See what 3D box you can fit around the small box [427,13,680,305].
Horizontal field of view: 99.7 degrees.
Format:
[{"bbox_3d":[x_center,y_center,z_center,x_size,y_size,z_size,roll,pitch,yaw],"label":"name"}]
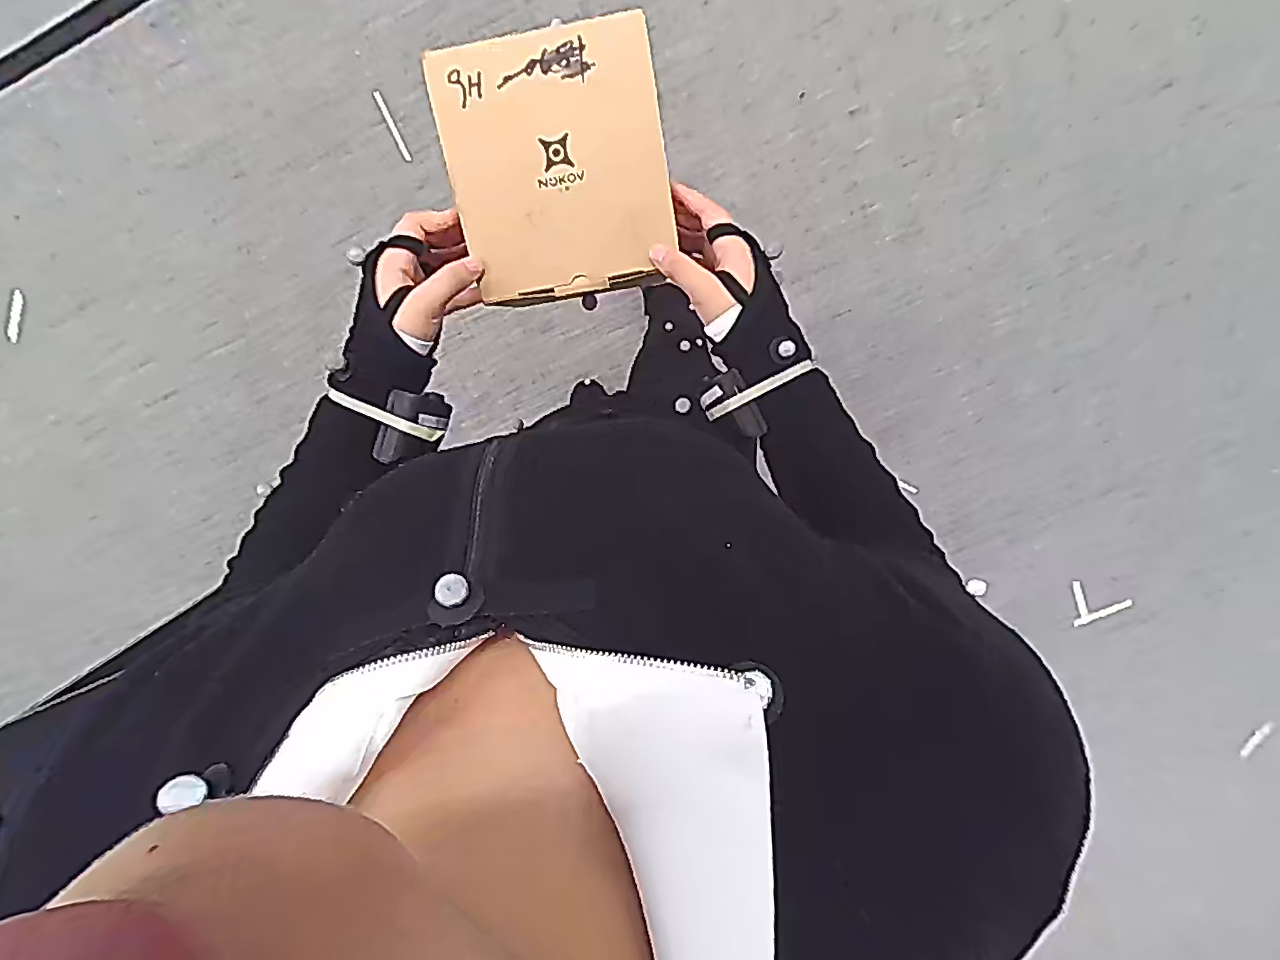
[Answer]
[{"bbox_3d":[-0.061,-0.262,0.487,0.168,0.176,0.179,-10,108,2],"label":"small box"}]
